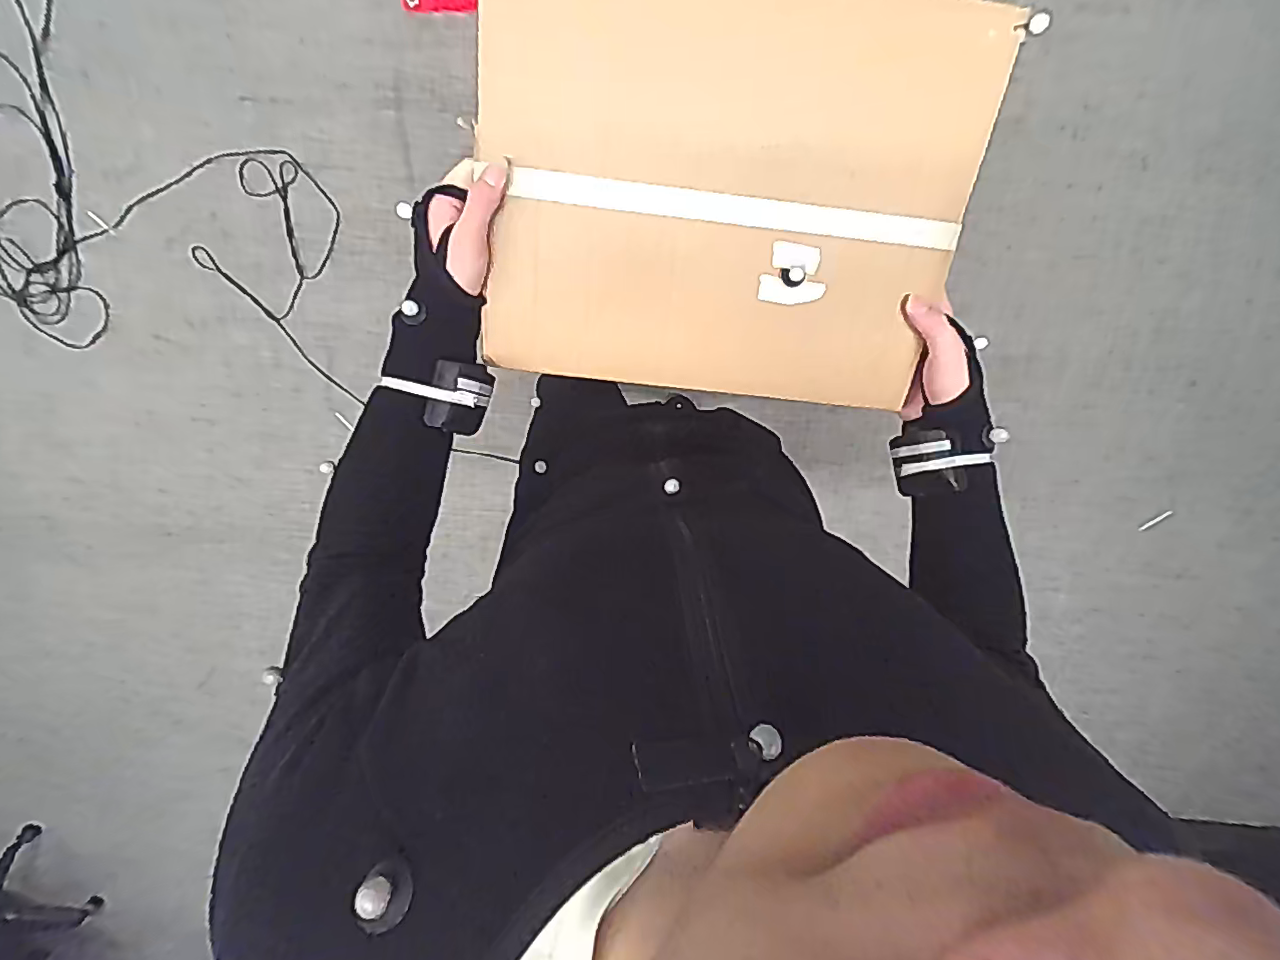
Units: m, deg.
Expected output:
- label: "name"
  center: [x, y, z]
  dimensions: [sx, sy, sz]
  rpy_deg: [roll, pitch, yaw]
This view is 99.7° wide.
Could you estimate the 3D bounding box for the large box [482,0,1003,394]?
- label: "large box"
  center: [0.062, -0.298, 0.595]
  dimensions: [0.408, 0.320, 0.320]
  rpy_deg: [5, 115, -5]
